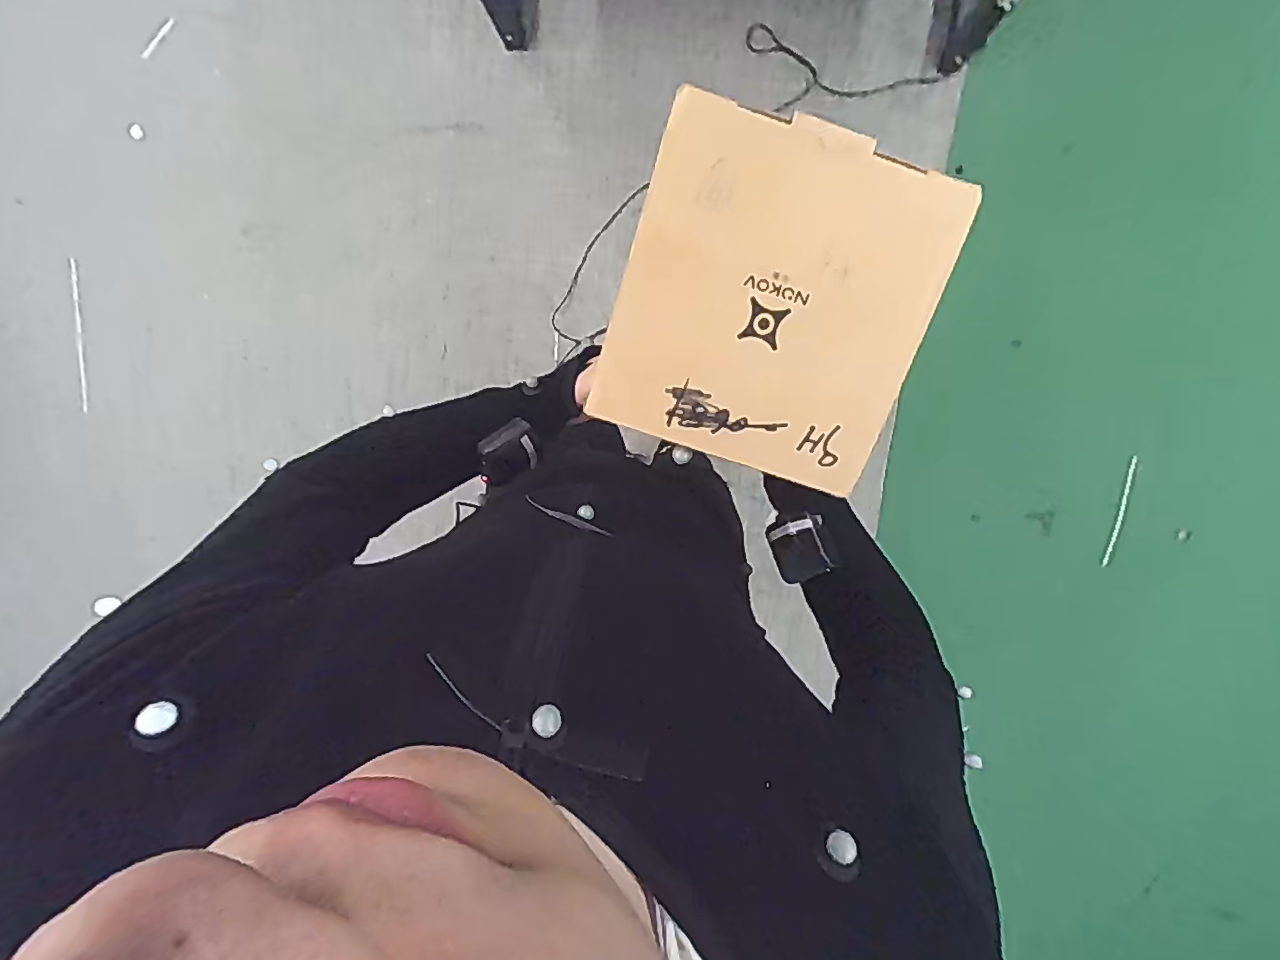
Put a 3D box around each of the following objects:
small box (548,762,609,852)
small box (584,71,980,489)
[{"bbox_3d":[-0.191,1.034,1.717,0.168,0.176,0.179,1,99,4],"label":"small box"},{"bbox_3d":[0.073,-0.118,0.367,0.168,0.176,0.179,18,106,-1],"label":"small box"}]
